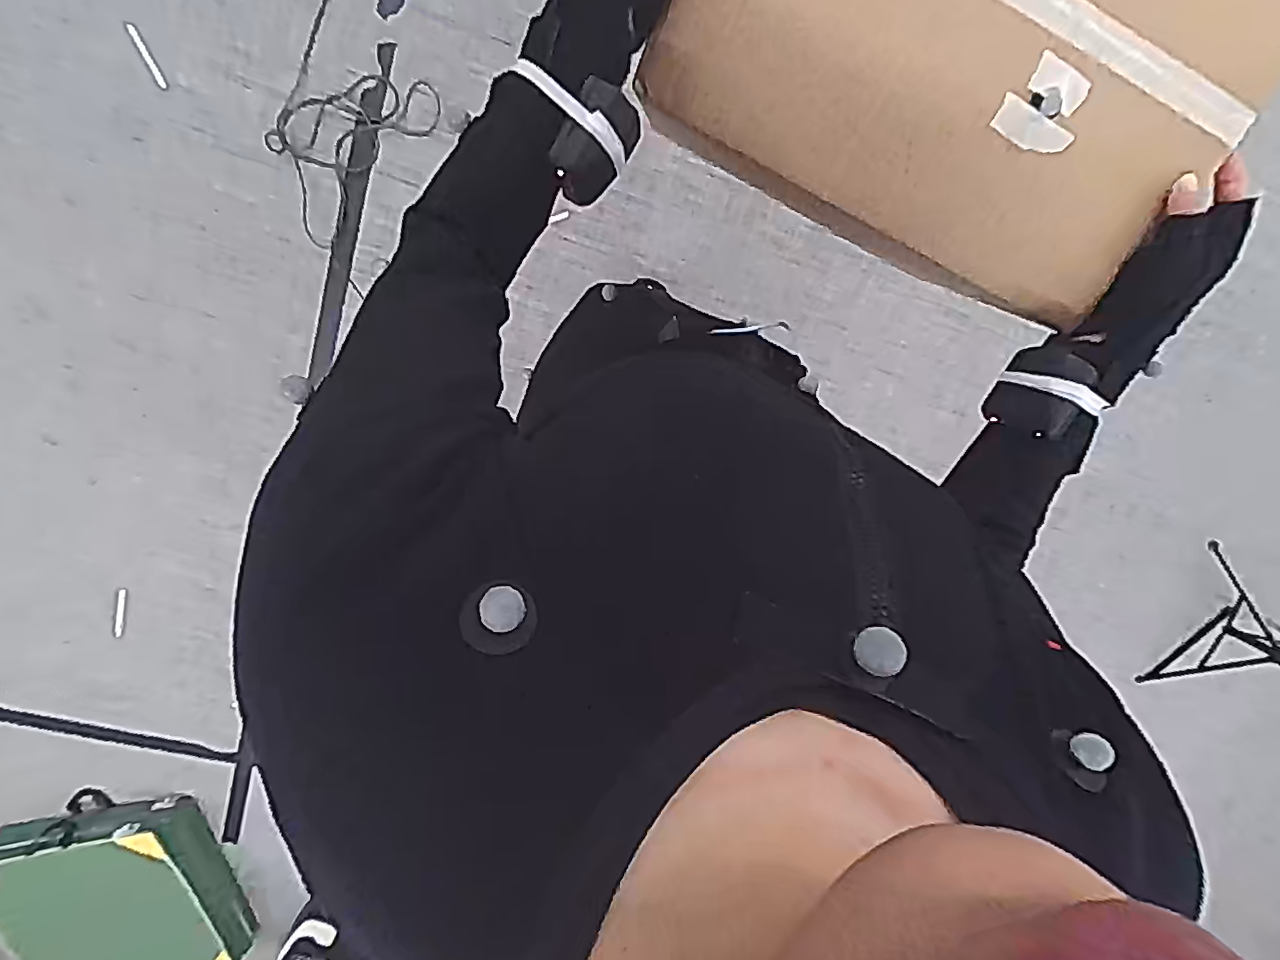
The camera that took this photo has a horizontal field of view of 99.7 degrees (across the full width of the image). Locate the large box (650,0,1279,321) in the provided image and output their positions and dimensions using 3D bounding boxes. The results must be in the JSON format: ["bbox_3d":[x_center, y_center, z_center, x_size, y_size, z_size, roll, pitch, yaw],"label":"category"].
[{"bbox_3d":[0.252,-0.402,0.494,0.408,0.320,0.320,24,119,-10],"label":"large box"}]
